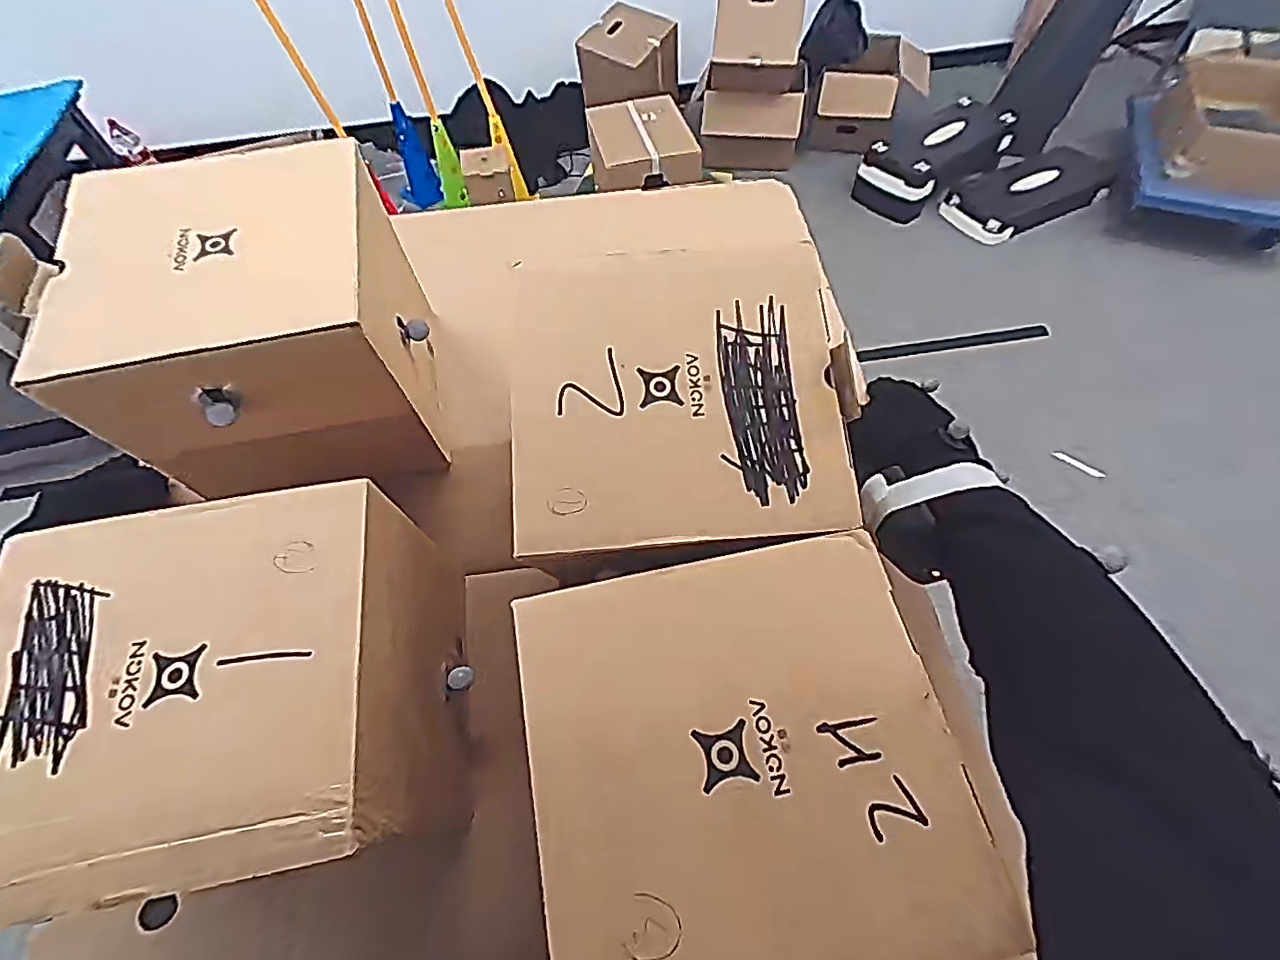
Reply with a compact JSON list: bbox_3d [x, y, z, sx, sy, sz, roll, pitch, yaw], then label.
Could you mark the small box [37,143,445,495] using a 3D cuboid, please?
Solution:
[{"bbox_3d":[-0.256,-0.107,0.402,0.179,0.176,0.168,-12,65,-5],"label":"small box"}]
